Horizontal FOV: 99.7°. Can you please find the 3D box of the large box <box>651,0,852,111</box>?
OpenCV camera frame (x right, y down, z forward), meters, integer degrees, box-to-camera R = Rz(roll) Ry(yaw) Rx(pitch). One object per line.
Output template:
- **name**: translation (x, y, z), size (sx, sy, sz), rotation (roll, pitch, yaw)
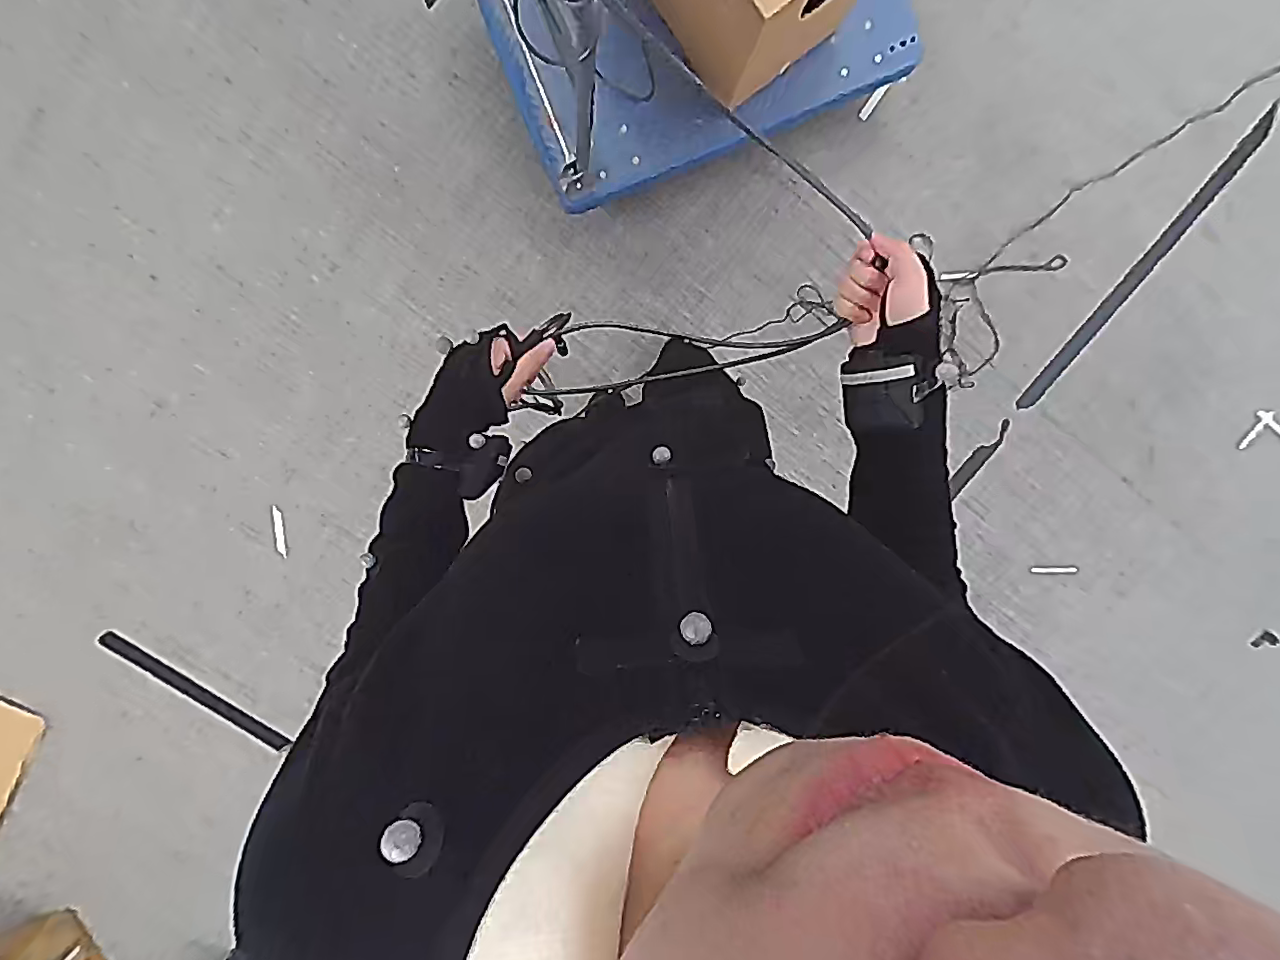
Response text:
- **large box**: translation (0.197, -1.023, 1.000), size (0.320, 0.320, 0.408), rotation (-37, 100, 4)
